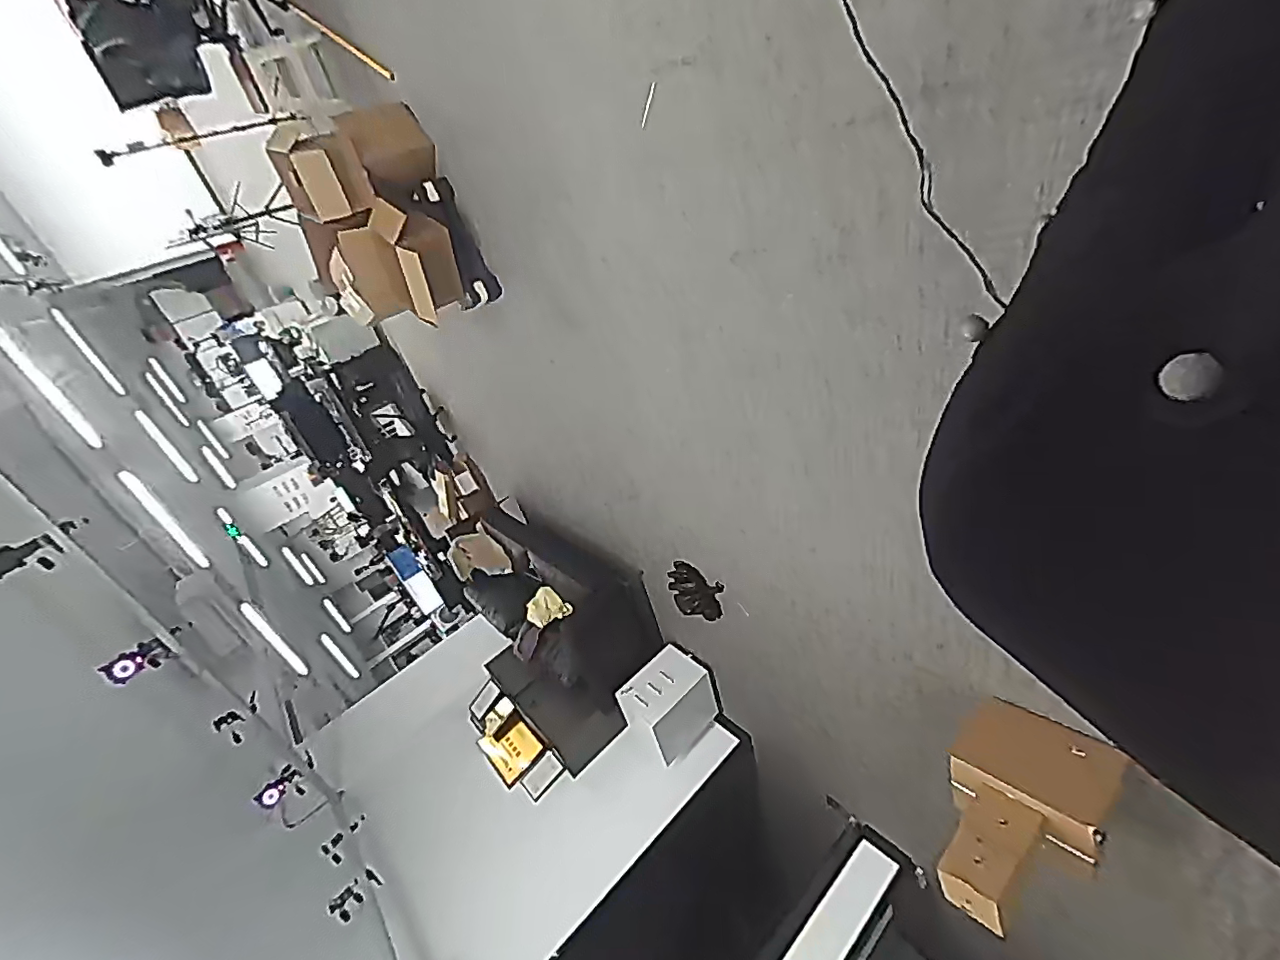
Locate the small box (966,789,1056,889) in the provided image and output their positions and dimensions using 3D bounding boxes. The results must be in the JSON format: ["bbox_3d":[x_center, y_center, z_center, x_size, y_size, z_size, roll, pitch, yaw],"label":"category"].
[{"bbox_3d":[1.176,1.123,1.712,0.179,0.176,0.168,9,129,56],"label":"small box"}]

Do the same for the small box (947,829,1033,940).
[{"bbox_3d":[1.062,1.213,1.637,0.168,0.176,0.179,11,130,54],"label":"small box"}]
